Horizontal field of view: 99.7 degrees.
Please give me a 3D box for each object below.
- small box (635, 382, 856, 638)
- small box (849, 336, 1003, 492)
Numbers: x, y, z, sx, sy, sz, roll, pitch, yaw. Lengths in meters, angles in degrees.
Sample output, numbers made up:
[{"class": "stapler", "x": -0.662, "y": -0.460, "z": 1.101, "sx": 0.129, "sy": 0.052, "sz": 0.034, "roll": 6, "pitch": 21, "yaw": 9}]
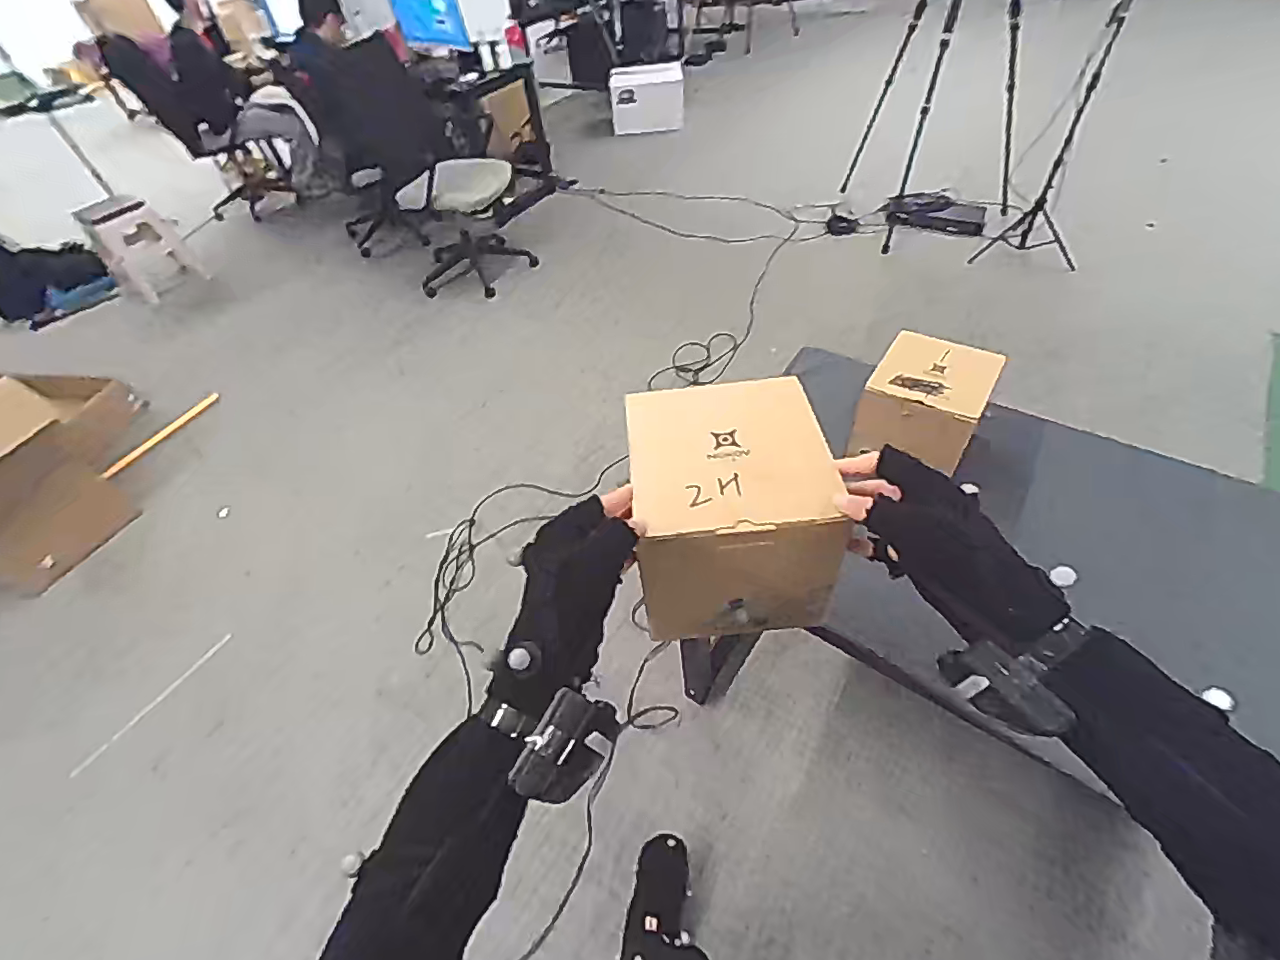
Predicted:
[{"class": "small box", "x": 0.083, "y": 0.030, "z": 0.519, "sx": 0.168, "sy": 0.176, "sz": 0.179, "roll": -5, "pitch": 48, "yaw": 2}, {"class": "small box", "x": 0.469, "y": -0.109, "z": 0.910, "sx": 0.168, "sy": 0.176, "sz": 0.179, "roll": 26, "pitch": 56, "yaw": 26}]
